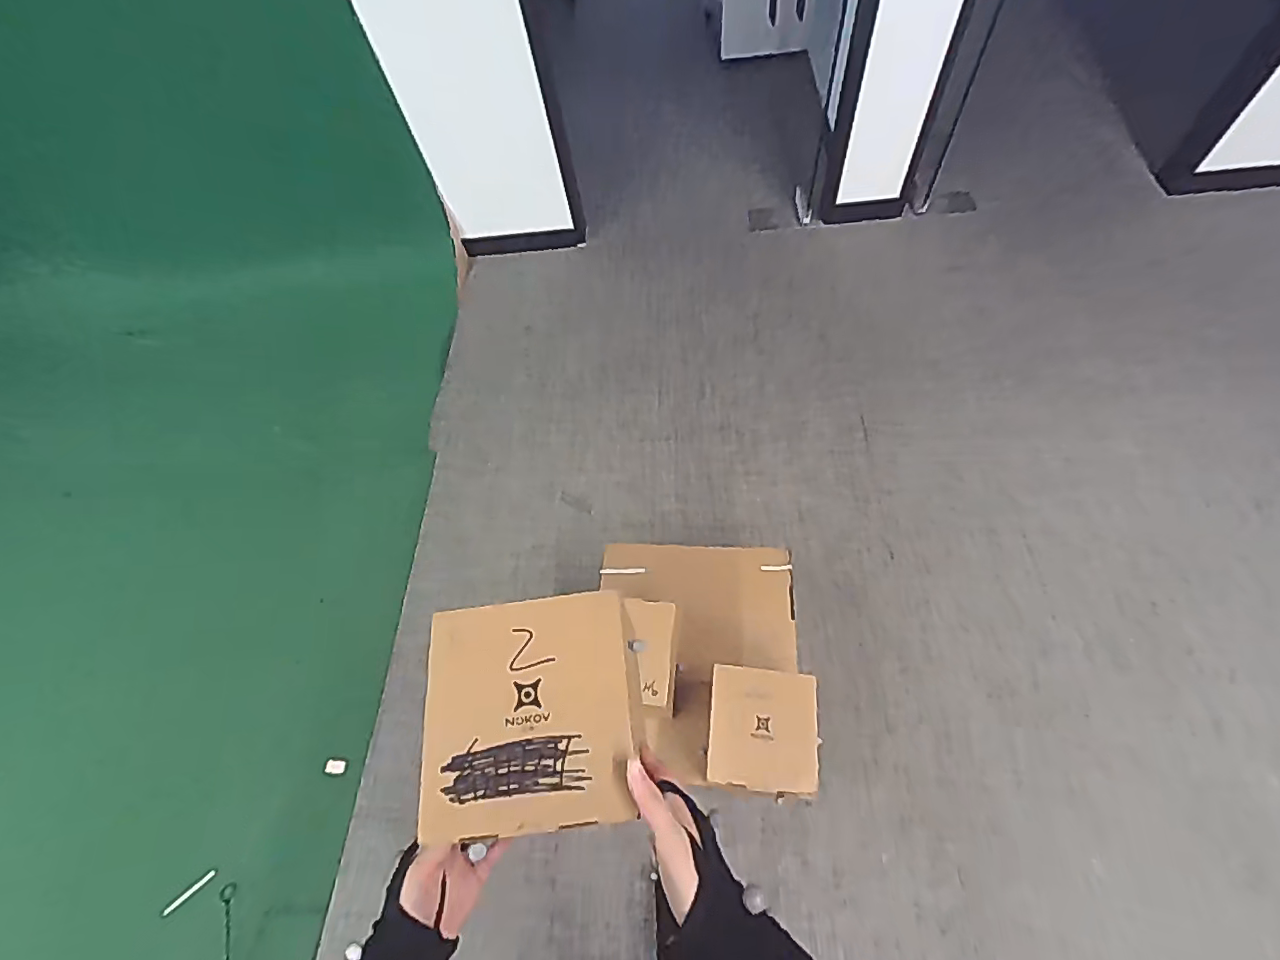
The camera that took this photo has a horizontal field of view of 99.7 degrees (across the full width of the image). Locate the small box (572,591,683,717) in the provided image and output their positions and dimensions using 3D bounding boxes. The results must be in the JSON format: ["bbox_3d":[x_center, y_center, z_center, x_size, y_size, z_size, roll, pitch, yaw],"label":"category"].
[{"bbox_3d":[-0.013,0.320,0.988,0.168,0.176,0.179,3,60,10],"label":"small box"}]

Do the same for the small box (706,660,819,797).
[{"bbox_3d":[0.201,0.416,0.905,0.168,0.176,0.179,5,61,8],"label":"small box"}]
